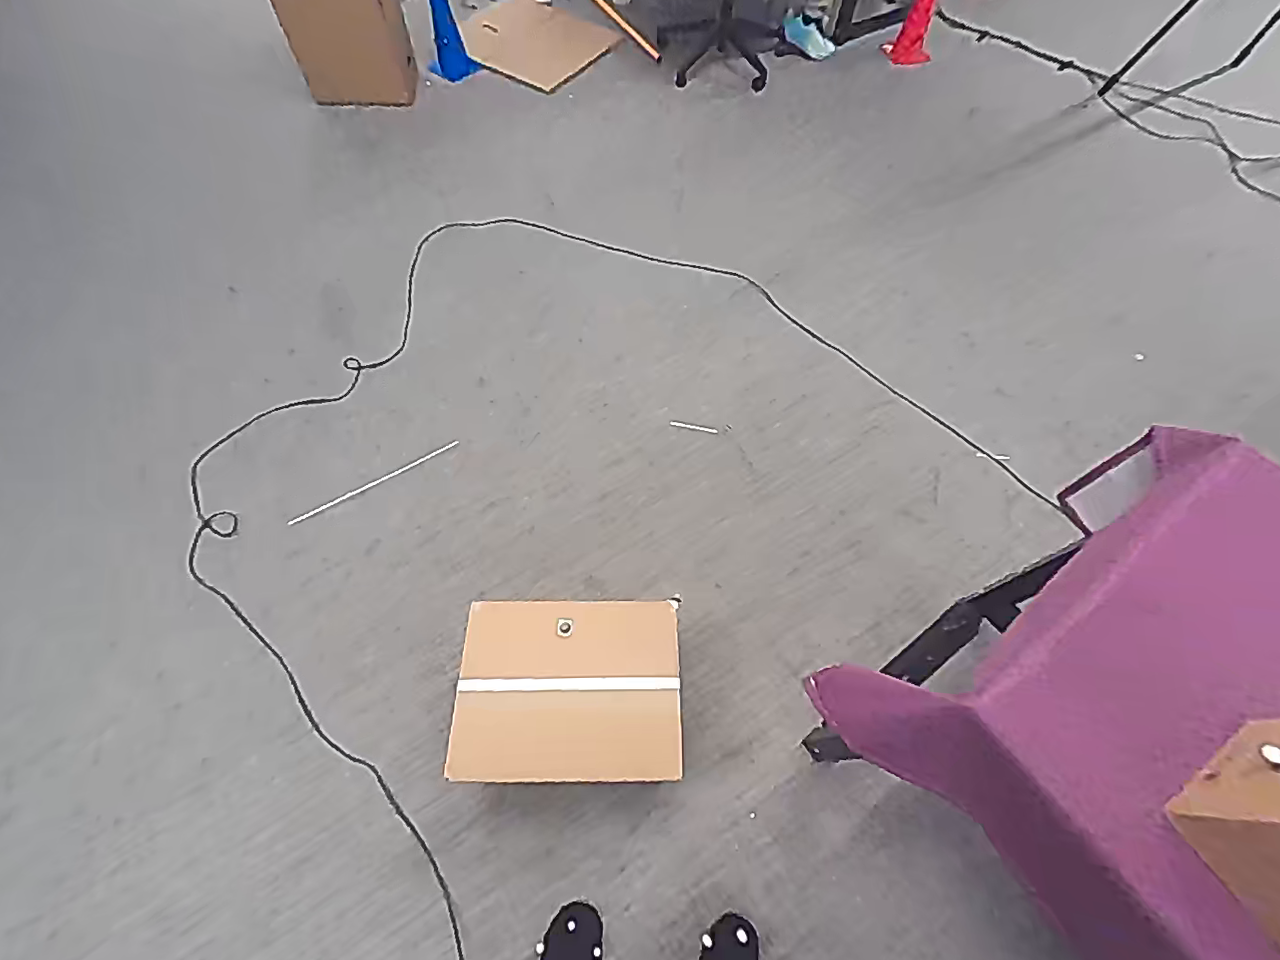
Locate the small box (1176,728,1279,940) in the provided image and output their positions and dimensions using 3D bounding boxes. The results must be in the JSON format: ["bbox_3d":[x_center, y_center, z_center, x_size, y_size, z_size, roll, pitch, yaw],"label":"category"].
[{"bbox_3d":[0.642,0.325,0.461,0.168,0.176,0.179,-28,66,-14],"label":"small box"}]
